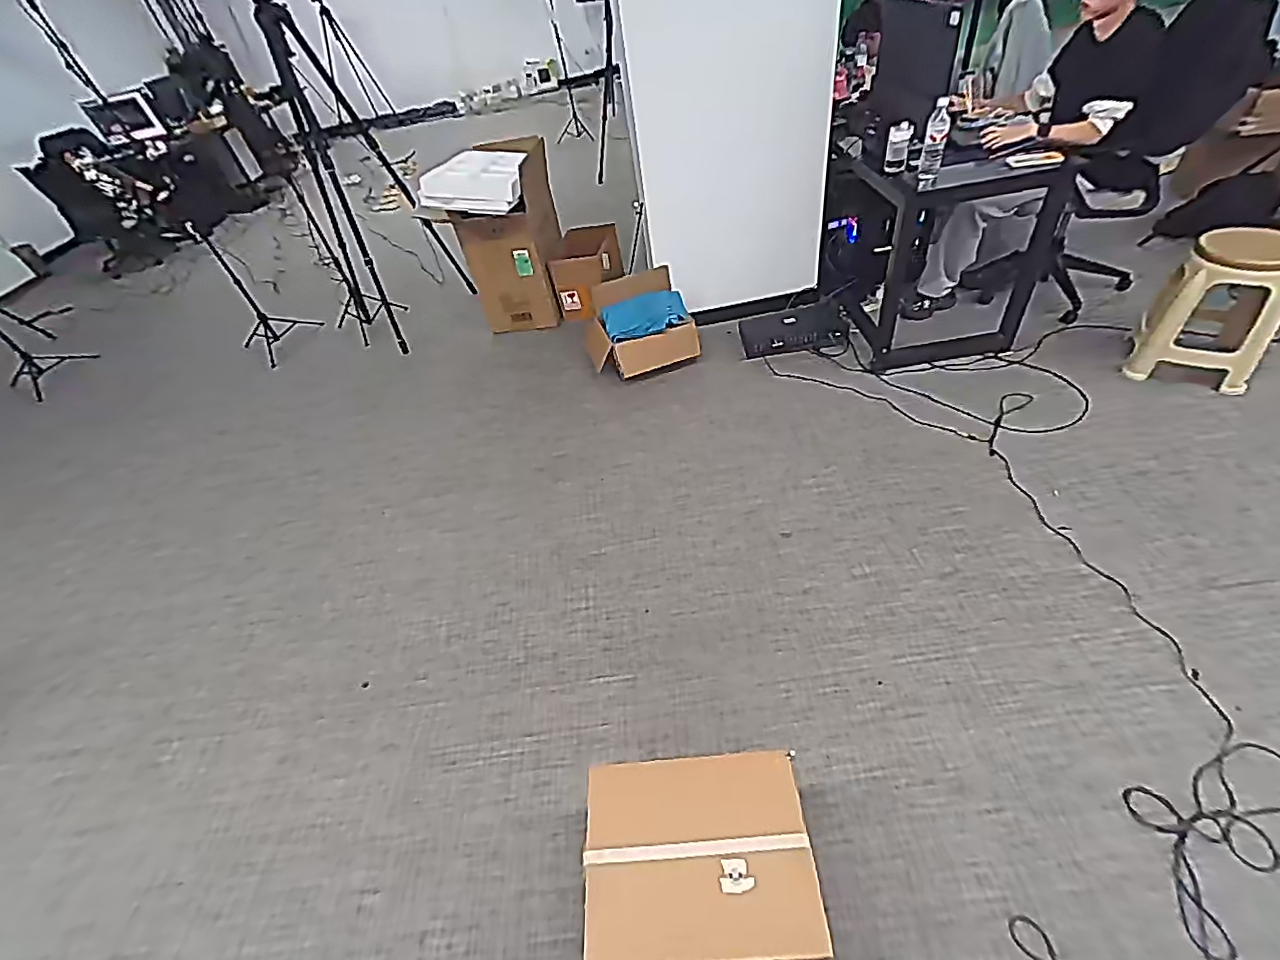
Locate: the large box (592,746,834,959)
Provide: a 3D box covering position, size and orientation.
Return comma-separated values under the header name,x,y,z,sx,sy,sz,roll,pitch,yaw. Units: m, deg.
name,x,y,z,sx,sy,sz,roll,pitch,yaw
large box,0.129,0.768,1.082,0.408,0.320,0.320,-7,45,4
